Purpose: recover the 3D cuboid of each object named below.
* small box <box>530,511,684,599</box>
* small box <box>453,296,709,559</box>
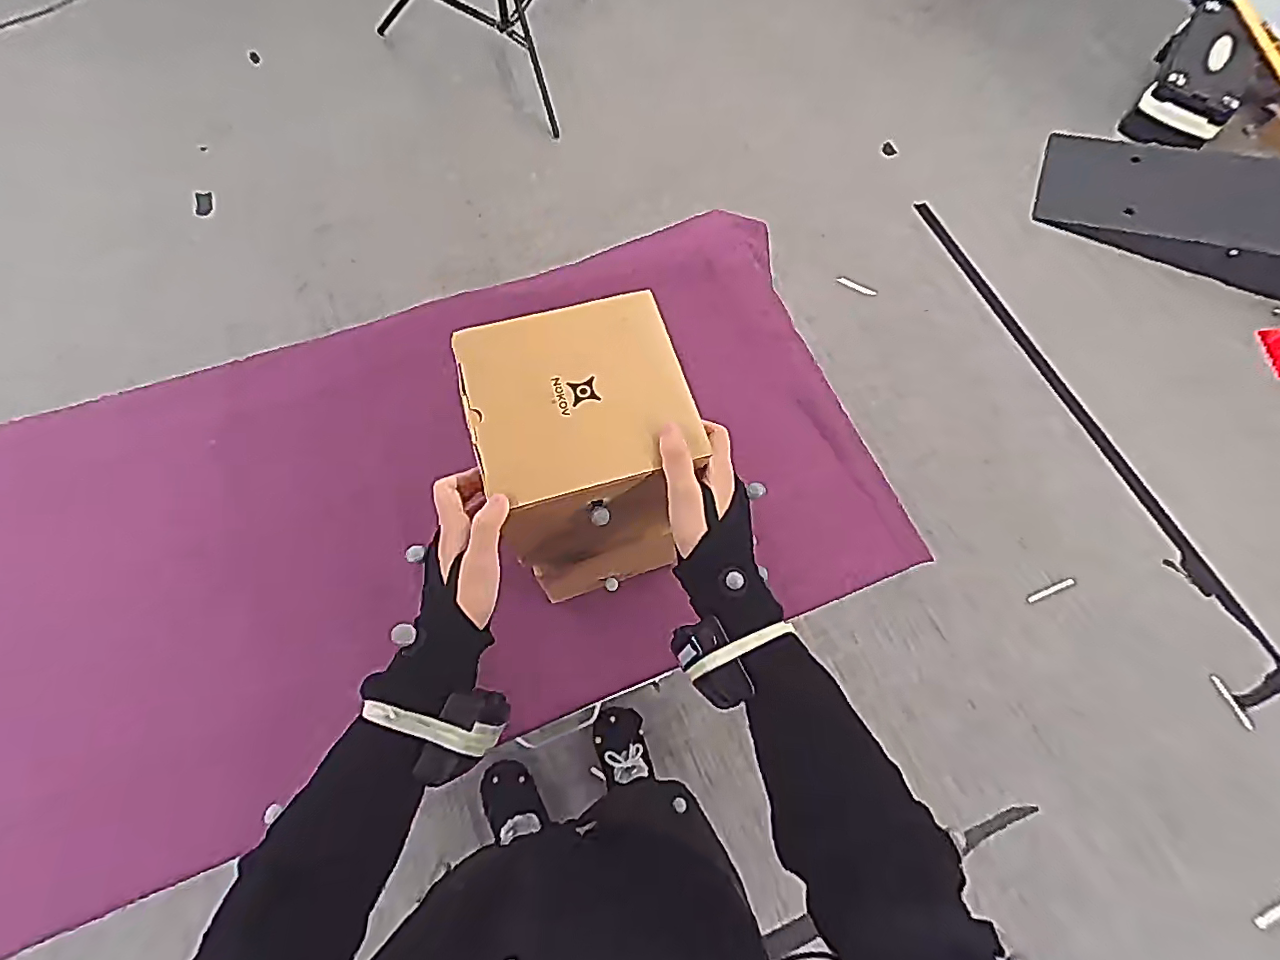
[{"bbox_3d":[-0.060,0.028,0.656,0.168,0.176,0.179,-18,71,-9],"label":"small box"},{"bbox_3d":[-0.054,-0.038,0.508,0.179,0.176,0.168,-16,70,-8],"label":"small box"}]
